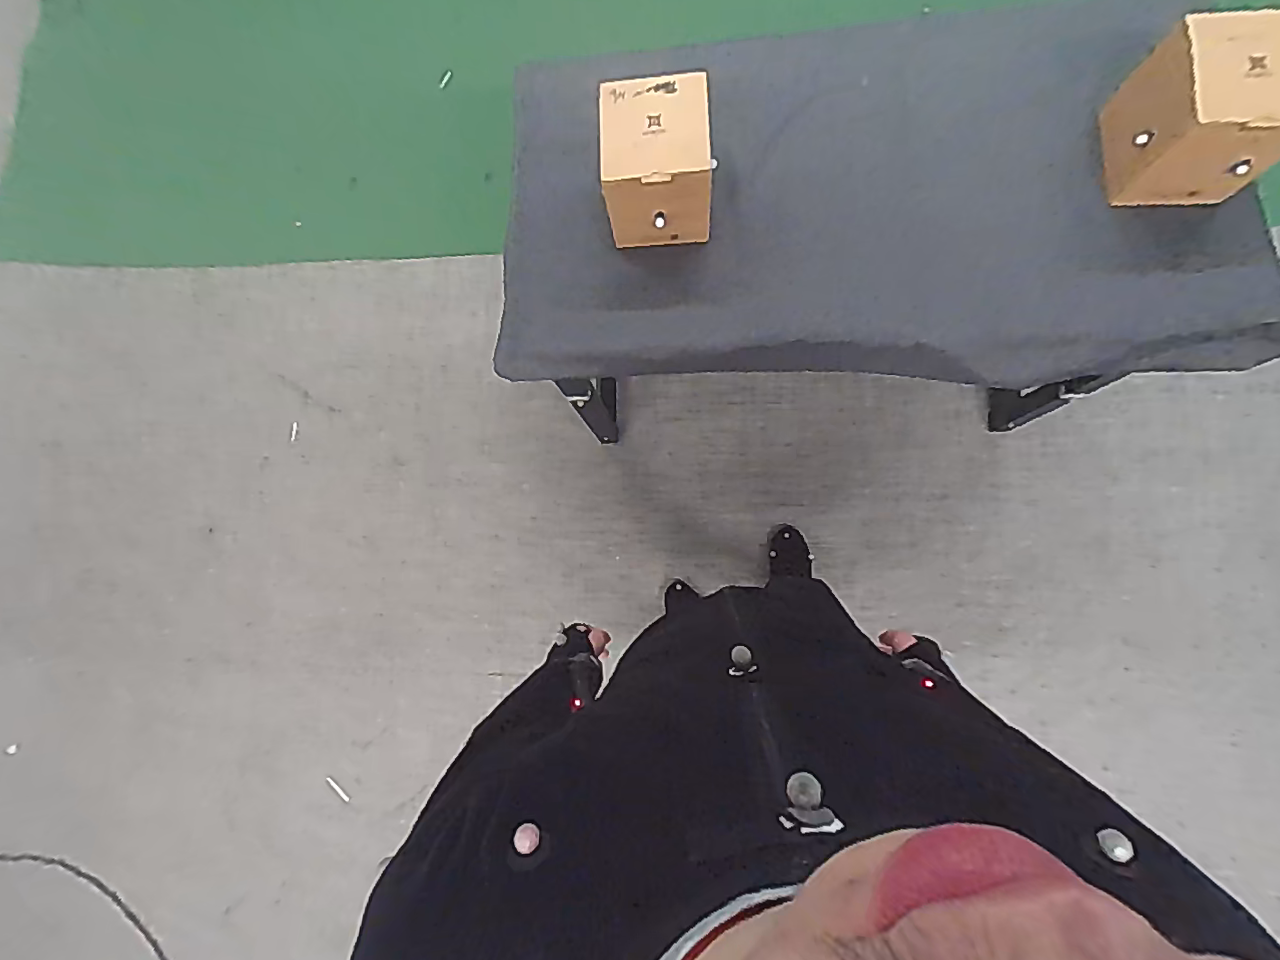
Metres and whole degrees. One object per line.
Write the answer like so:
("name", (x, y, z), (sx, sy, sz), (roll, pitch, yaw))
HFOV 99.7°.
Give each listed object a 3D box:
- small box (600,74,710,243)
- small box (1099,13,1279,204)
("small box", (0.030, -0.511, 0.887), (0.168, 0.176, 0.179), (-2, 80, 5))
("small box", (0.833, -0.537, 0.803), (0.168, 0.176, 0.179), (2, 79, 6))
